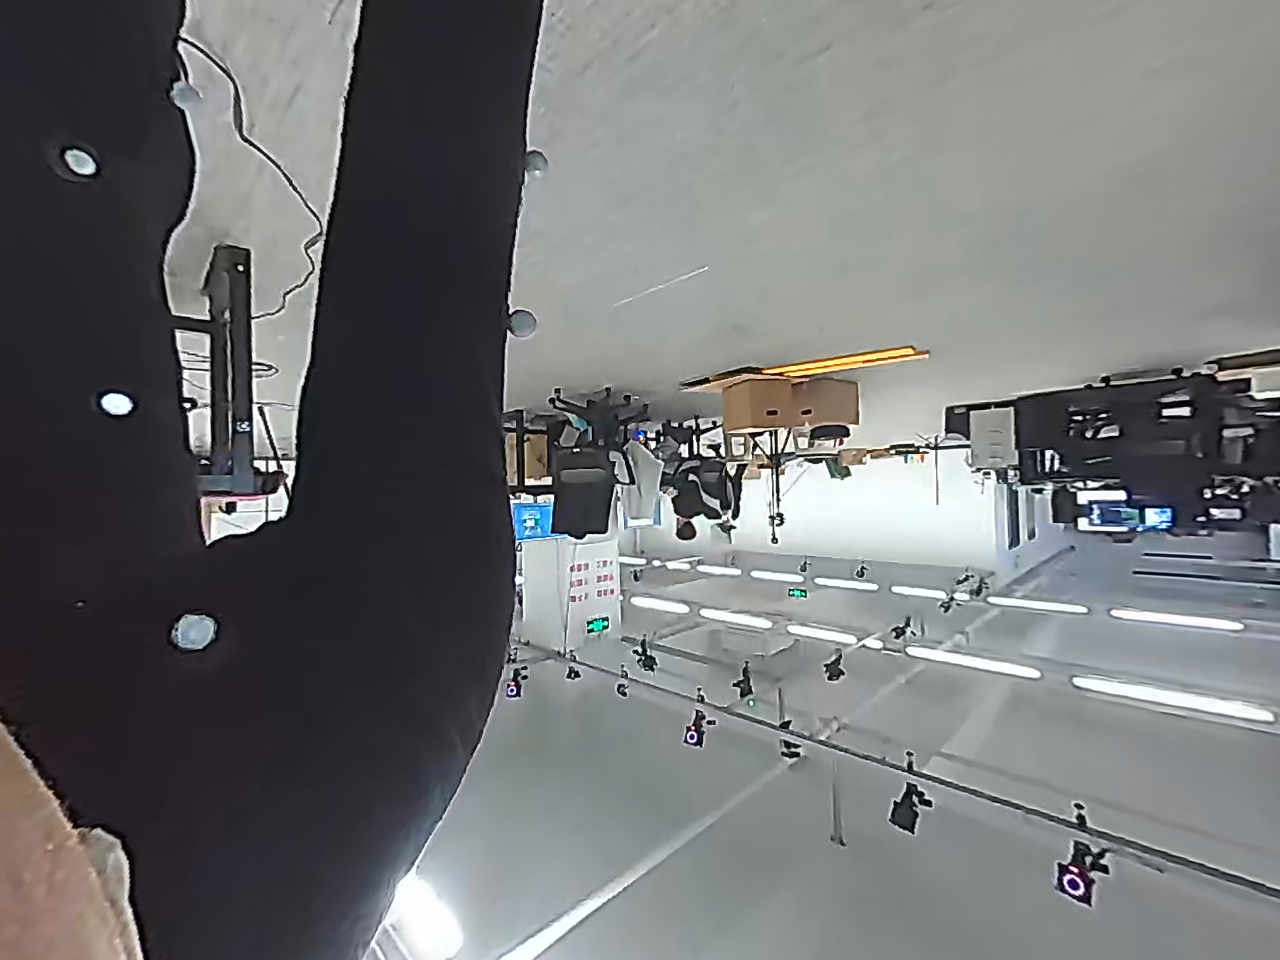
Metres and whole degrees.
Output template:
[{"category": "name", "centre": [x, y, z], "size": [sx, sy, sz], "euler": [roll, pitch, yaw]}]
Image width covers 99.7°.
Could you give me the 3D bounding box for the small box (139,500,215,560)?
[{"category": "small box", "centre": [-1.393, 0.146, 1.630], "size": [0.168, 0.176, 0.179], "euler": [0, 177, -40]}]
